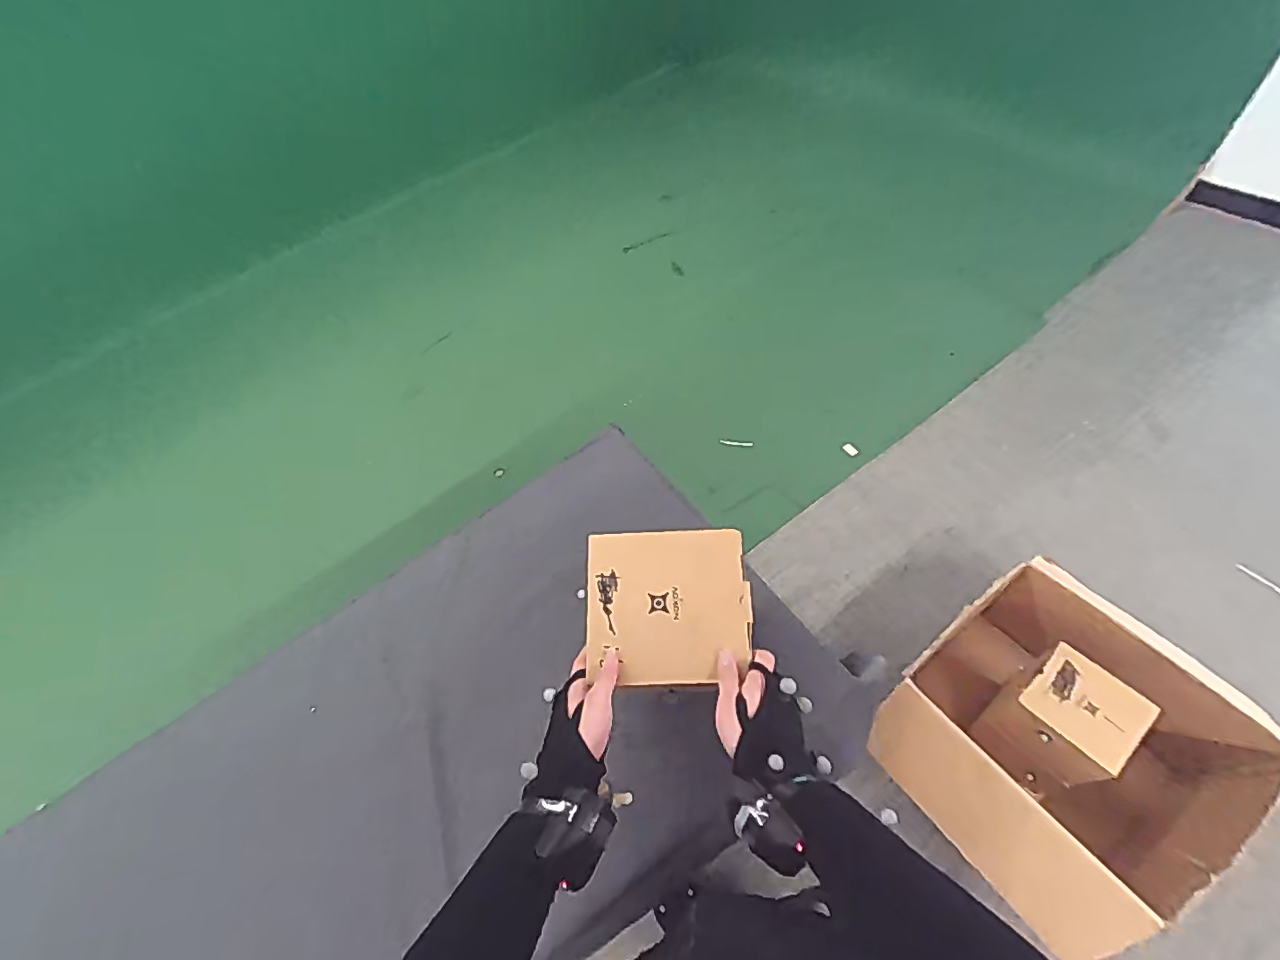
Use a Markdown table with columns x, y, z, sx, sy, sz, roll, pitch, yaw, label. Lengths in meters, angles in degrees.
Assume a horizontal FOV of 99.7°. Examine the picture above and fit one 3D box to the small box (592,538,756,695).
| x | y | z | sx | sy | sz | roll | pitch | yaw | label |
| --- | --- | --- | --- | --- | --- | --- | --- | --- | --- |
| 0.036 | 0.176 | 0.674 | 0.179 | 0.176 | 0.168 | -4 | 67 | 2 | small box |
